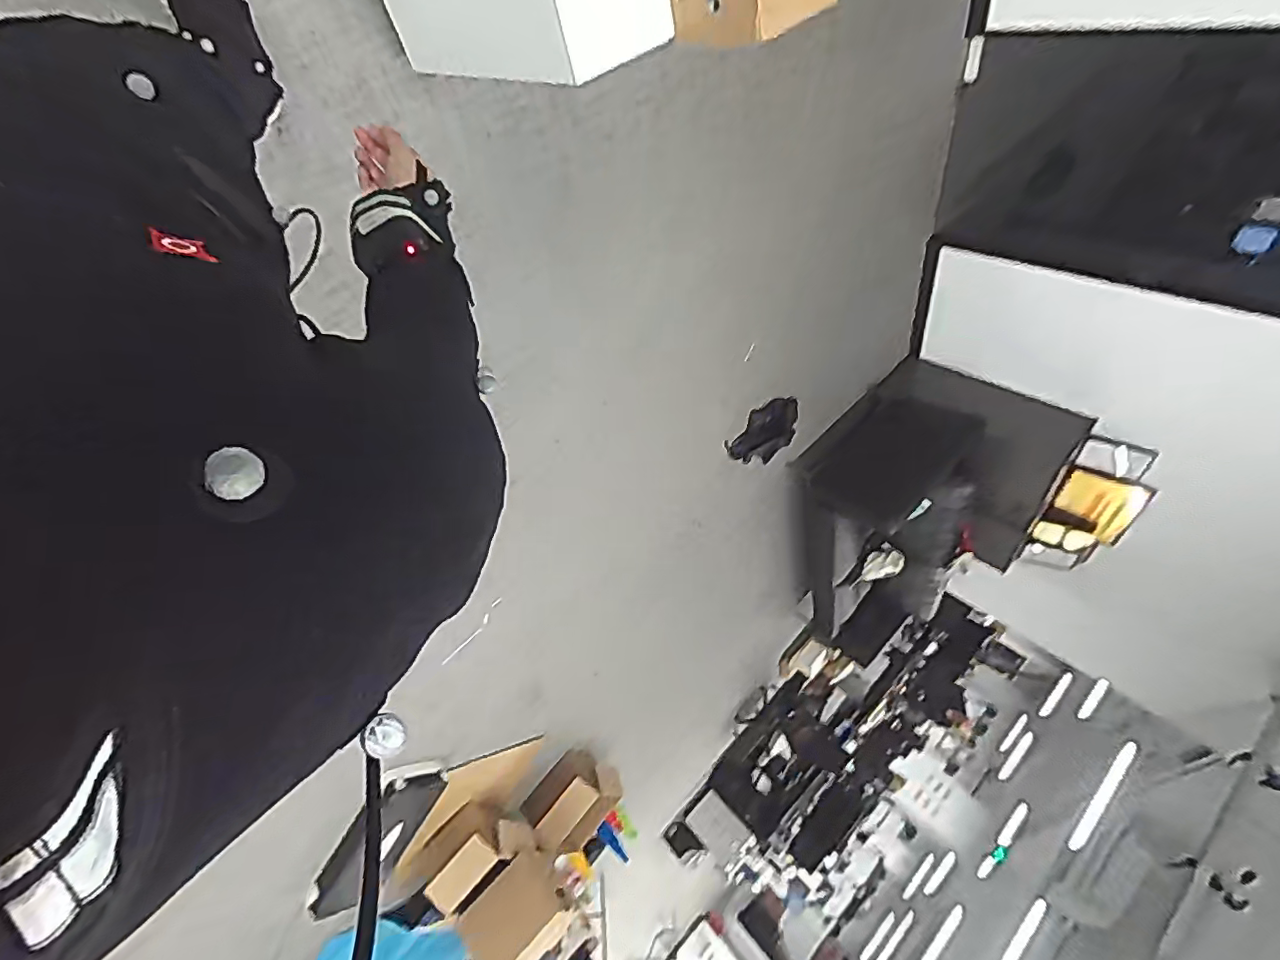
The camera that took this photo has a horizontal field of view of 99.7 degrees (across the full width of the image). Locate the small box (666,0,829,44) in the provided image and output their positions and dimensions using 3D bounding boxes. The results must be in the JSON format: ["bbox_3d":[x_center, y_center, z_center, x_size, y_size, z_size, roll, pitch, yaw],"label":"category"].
[{"bbox_3d":[0.142,-0.729,0.746,0.179,0.176,0.168,-42,143,-18],"label":"small box"}]
